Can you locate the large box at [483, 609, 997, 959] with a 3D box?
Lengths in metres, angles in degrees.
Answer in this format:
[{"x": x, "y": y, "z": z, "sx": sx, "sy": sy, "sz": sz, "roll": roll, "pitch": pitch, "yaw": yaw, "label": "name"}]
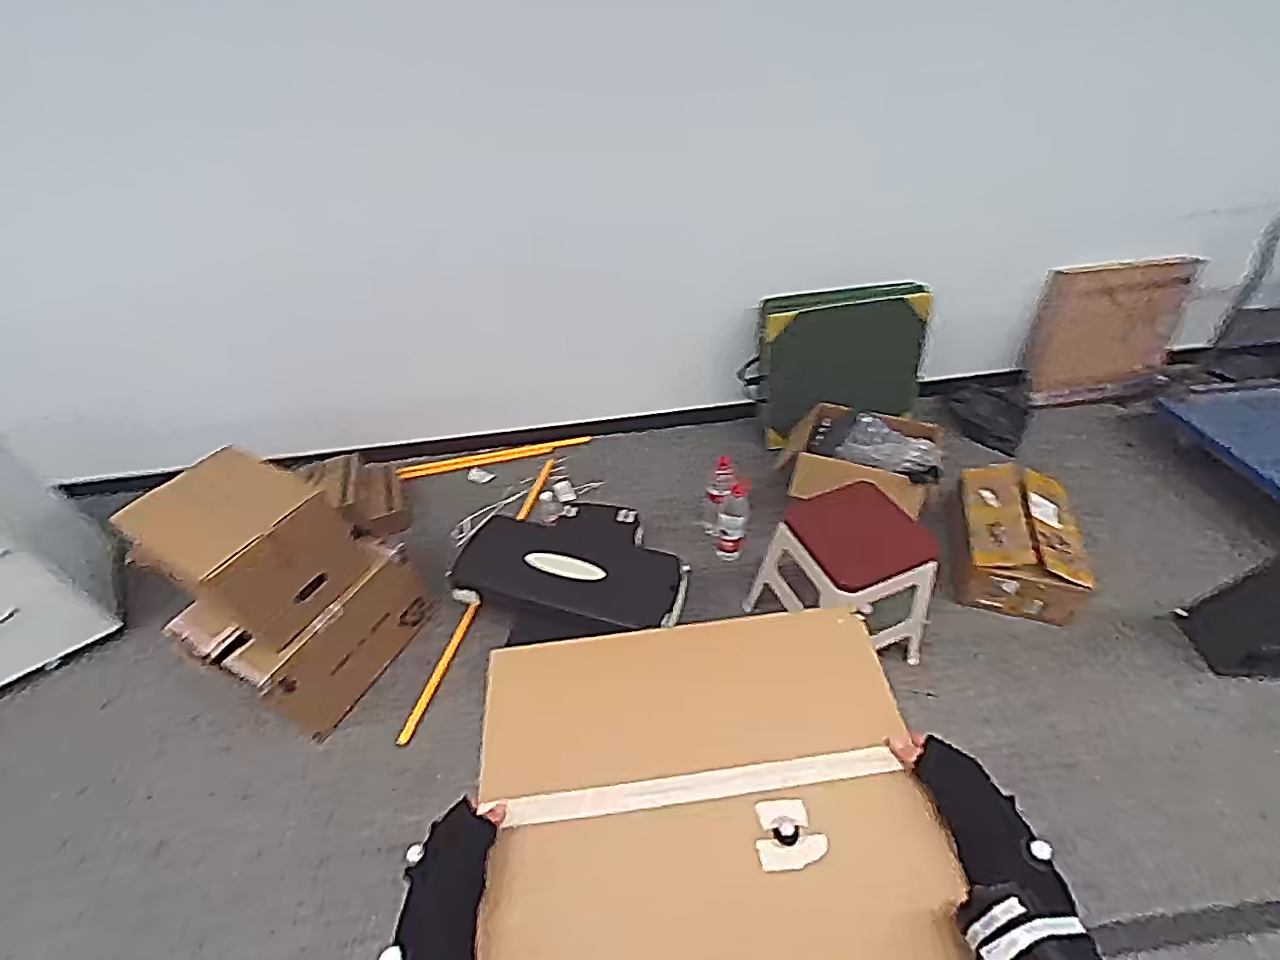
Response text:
[{"x": 0.067, "y": 0.381, "z": 0.610, "sx": 0.408, "sy": 0.320, "sz": 0.320, "roll": -7, "pitch": 50, "yaw": -2, "label": "large box"}]
